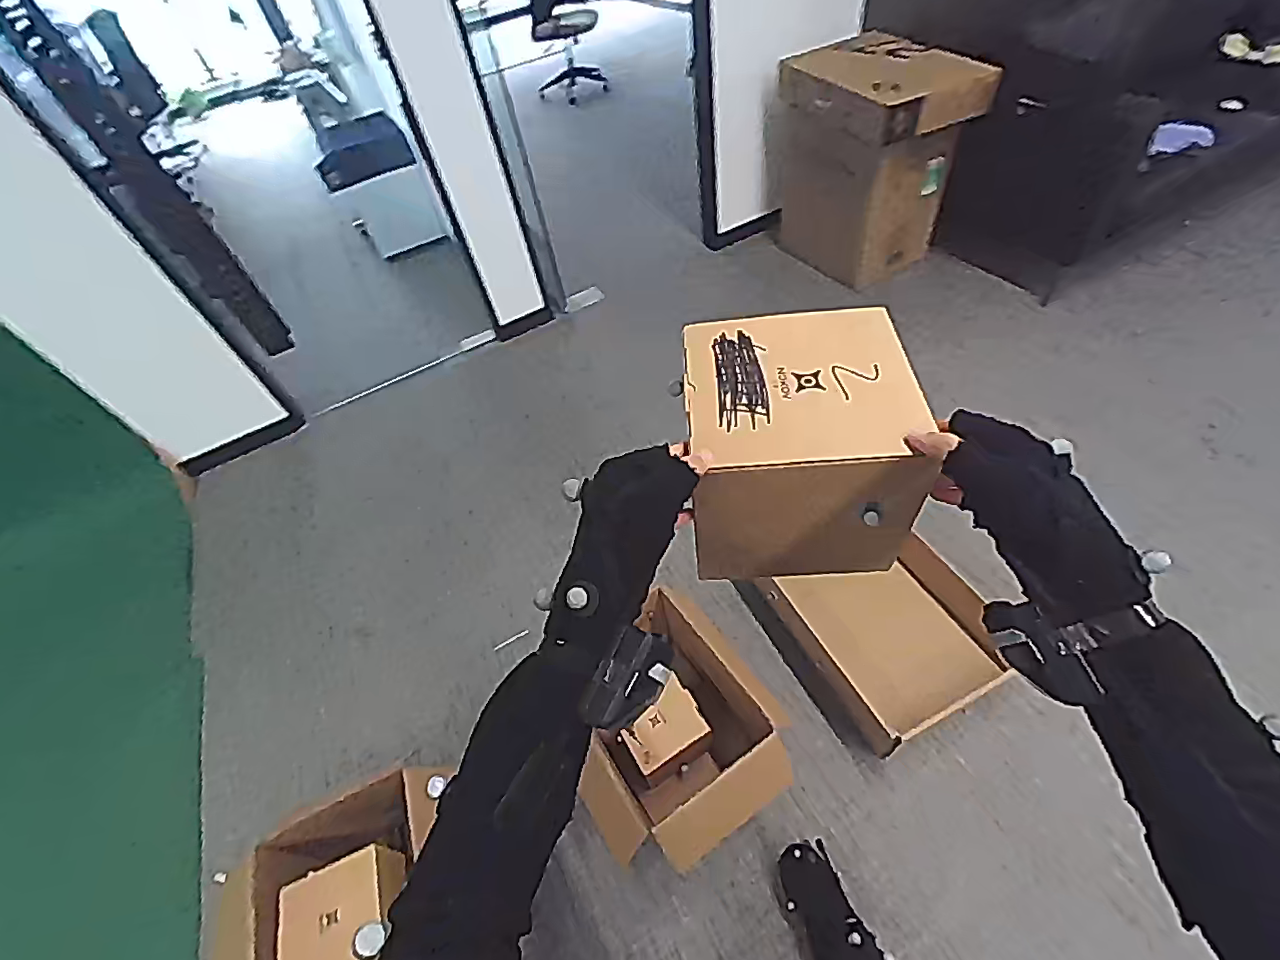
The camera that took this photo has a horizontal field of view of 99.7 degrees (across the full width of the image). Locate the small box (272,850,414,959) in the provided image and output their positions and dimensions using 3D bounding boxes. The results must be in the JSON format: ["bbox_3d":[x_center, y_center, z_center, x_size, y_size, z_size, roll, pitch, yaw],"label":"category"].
[{"bbox_3d":[-0.531,0.813,0.985,0.179,0.176,0.168,-22,49,-10],"label":"small box"}]
